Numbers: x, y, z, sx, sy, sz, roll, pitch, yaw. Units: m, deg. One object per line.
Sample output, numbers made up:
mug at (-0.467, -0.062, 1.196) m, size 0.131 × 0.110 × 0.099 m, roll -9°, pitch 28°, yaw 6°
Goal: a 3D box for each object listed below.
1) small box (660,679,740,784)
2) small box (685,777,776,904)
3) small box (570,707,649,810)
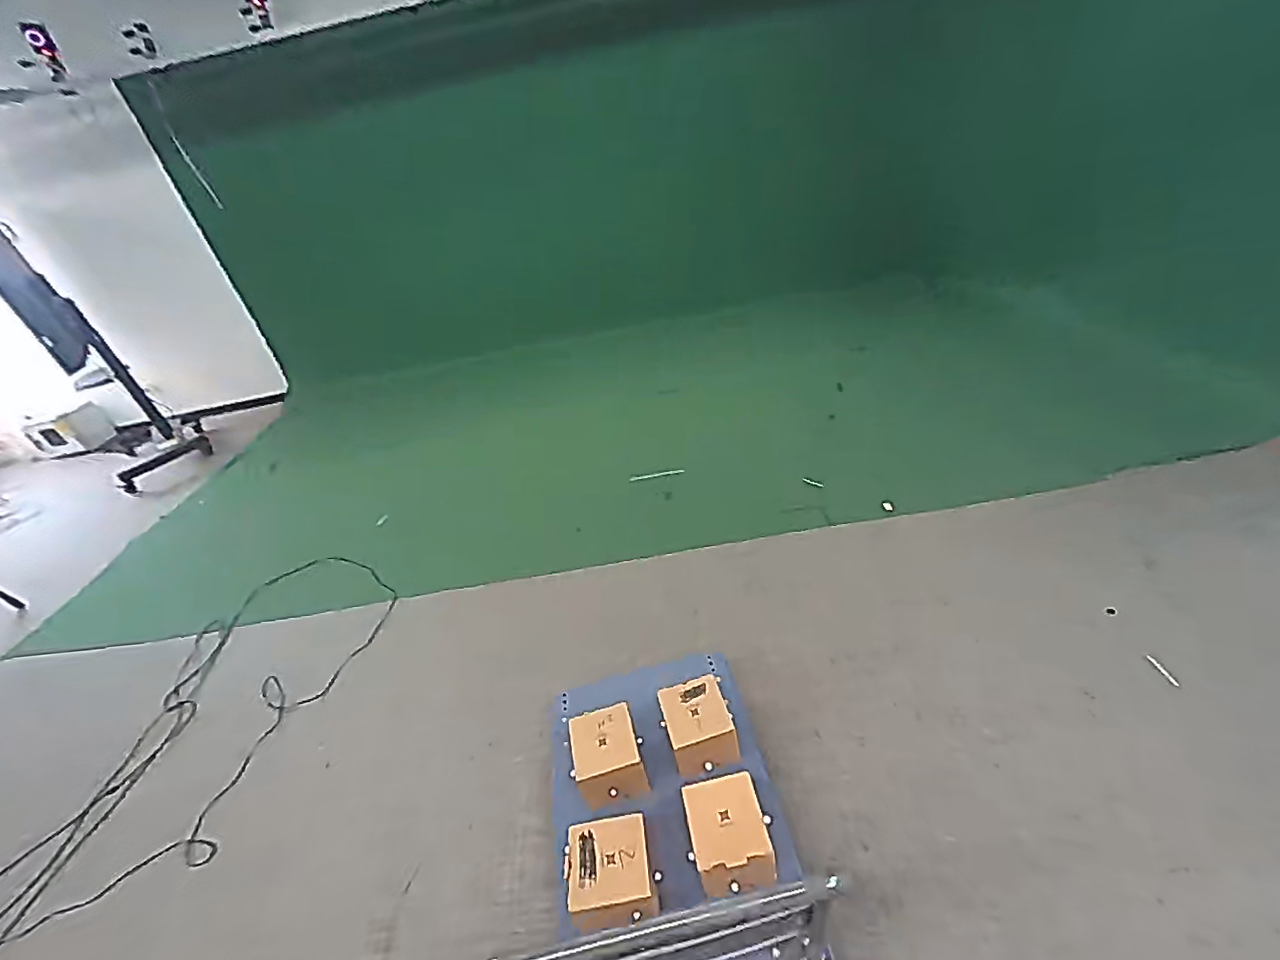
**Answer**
small box at (0.162, 0.680, 1.464) m, size 0.168 × 0.176 × 0.179 m, roll -16°, pitch 35°, yaw -4°
small box at (0.205, 0.826, 1.241) m, size 0.168 × 0.176 × 0.179 m, roll -13°, pitch 34°, yaw -1°
small box at (-0.080, 0.748, 1.441) m, size 0.168 × 0.176 × 0.179 m, roll -15°, pitch 34°, yaw -5°
